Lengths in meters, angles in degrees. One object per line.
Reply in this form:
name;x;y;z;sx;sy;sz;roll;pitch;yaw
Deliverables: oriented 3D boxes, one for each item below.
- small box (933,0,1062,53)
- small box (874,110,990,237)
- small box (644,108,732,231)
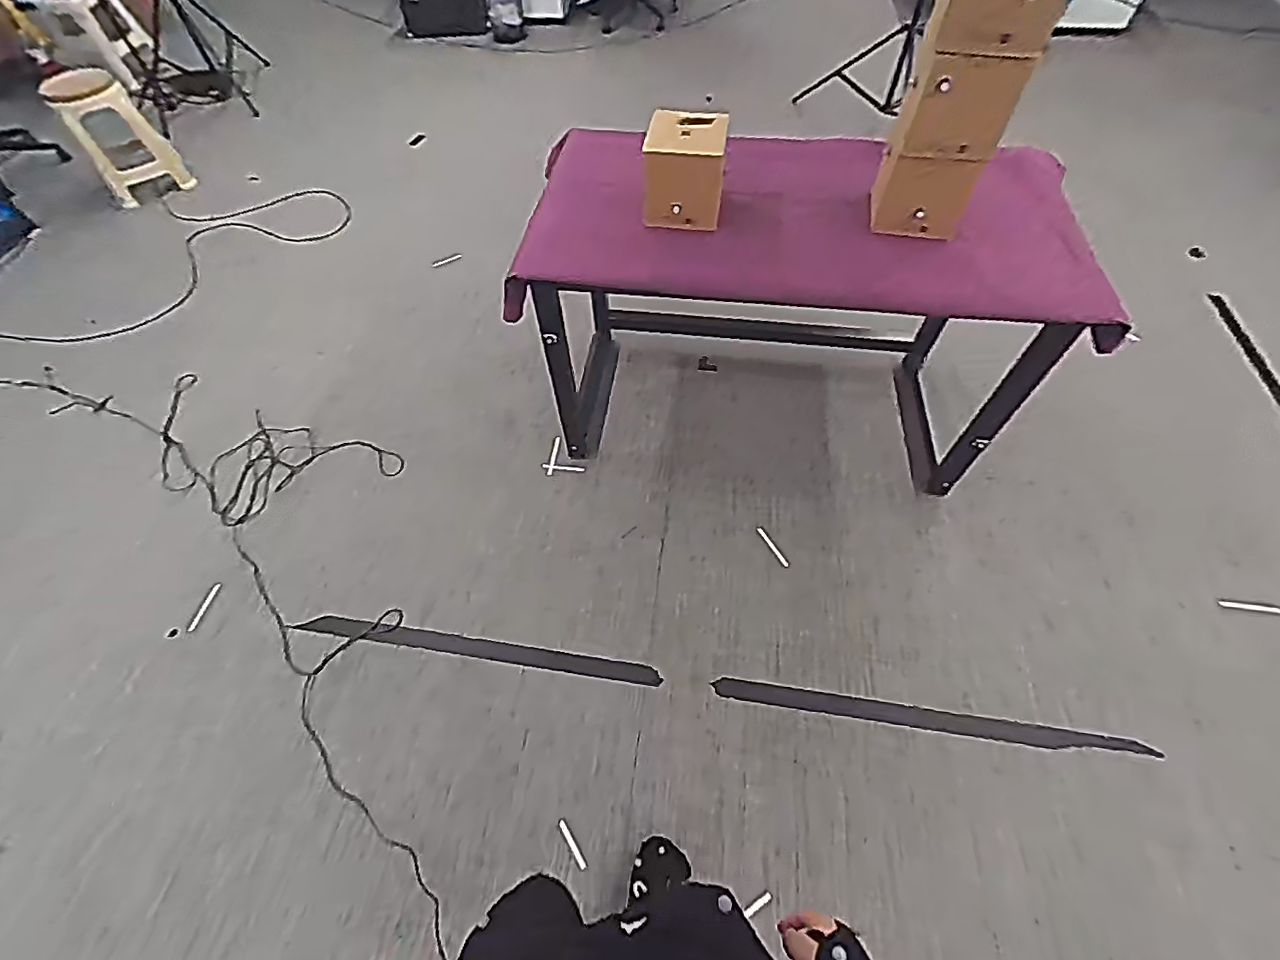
small box;0.592;-0.821;0.872;0.168;0.176;0.179;13;57;9
small box;0.608;-0.649;1.149;0.168;0.176;0.179;10;58;10
small box;0.103;-0.681;1.188;0.168;0.176;0.179;7;59;7
